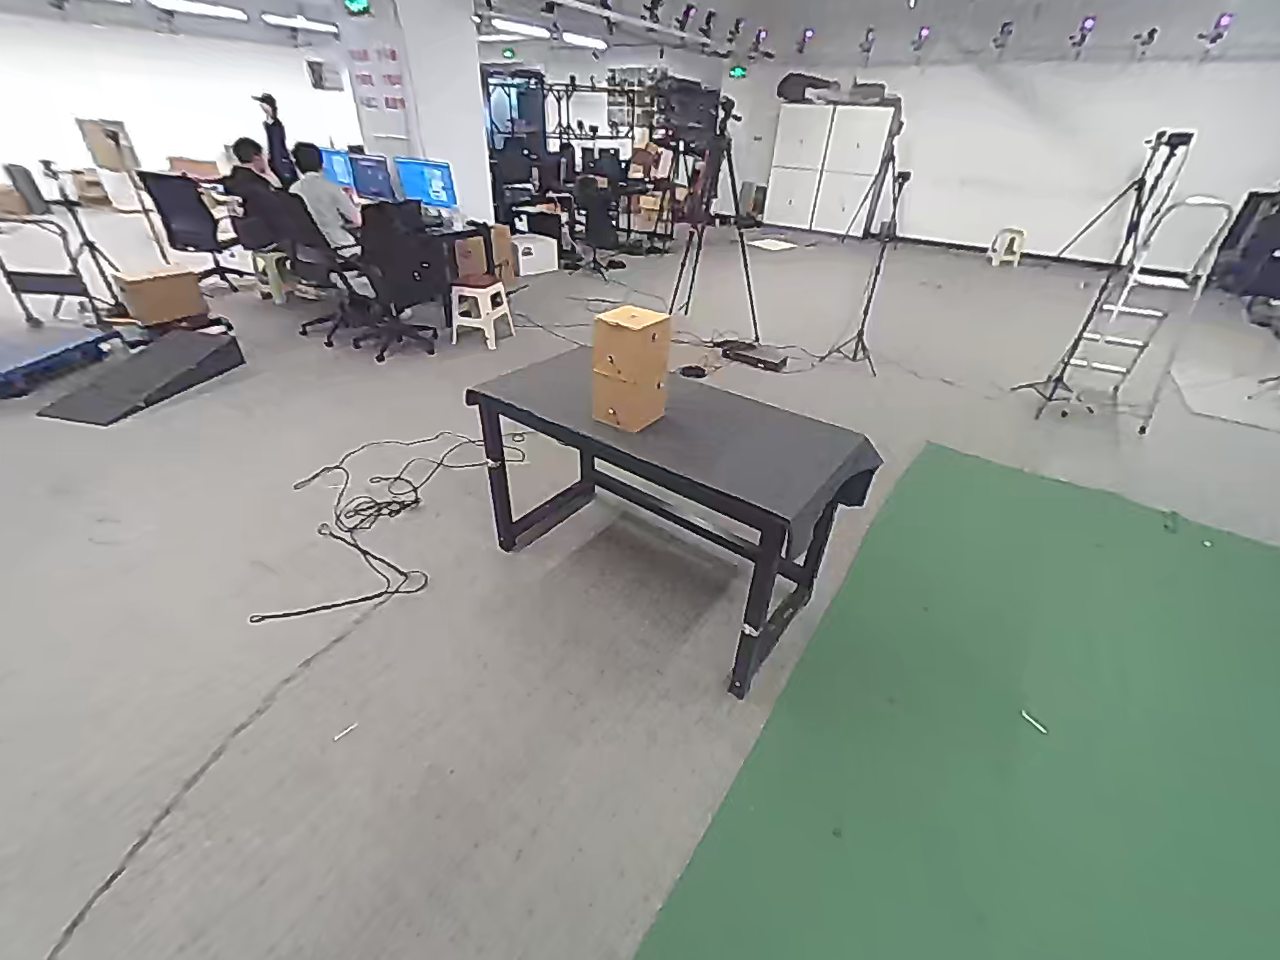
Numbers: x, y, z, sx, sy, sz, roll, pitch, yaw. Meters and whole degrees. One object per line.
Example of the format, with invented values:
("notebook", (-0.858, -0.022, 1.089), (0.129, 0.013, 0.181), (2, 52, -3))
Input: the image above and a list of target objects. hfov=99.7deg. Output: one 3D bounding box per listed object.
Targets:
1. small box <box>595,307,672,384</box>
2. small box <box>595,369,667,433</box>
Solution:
("small box", (-0.025, -0.407, 1.632), (0.168, 0.176, 0.179), (23, 38, 28))
("small box", (-0.032, -0.271, 1.720), (0.168, 0.176, 0.179), (22, 37, 28))
